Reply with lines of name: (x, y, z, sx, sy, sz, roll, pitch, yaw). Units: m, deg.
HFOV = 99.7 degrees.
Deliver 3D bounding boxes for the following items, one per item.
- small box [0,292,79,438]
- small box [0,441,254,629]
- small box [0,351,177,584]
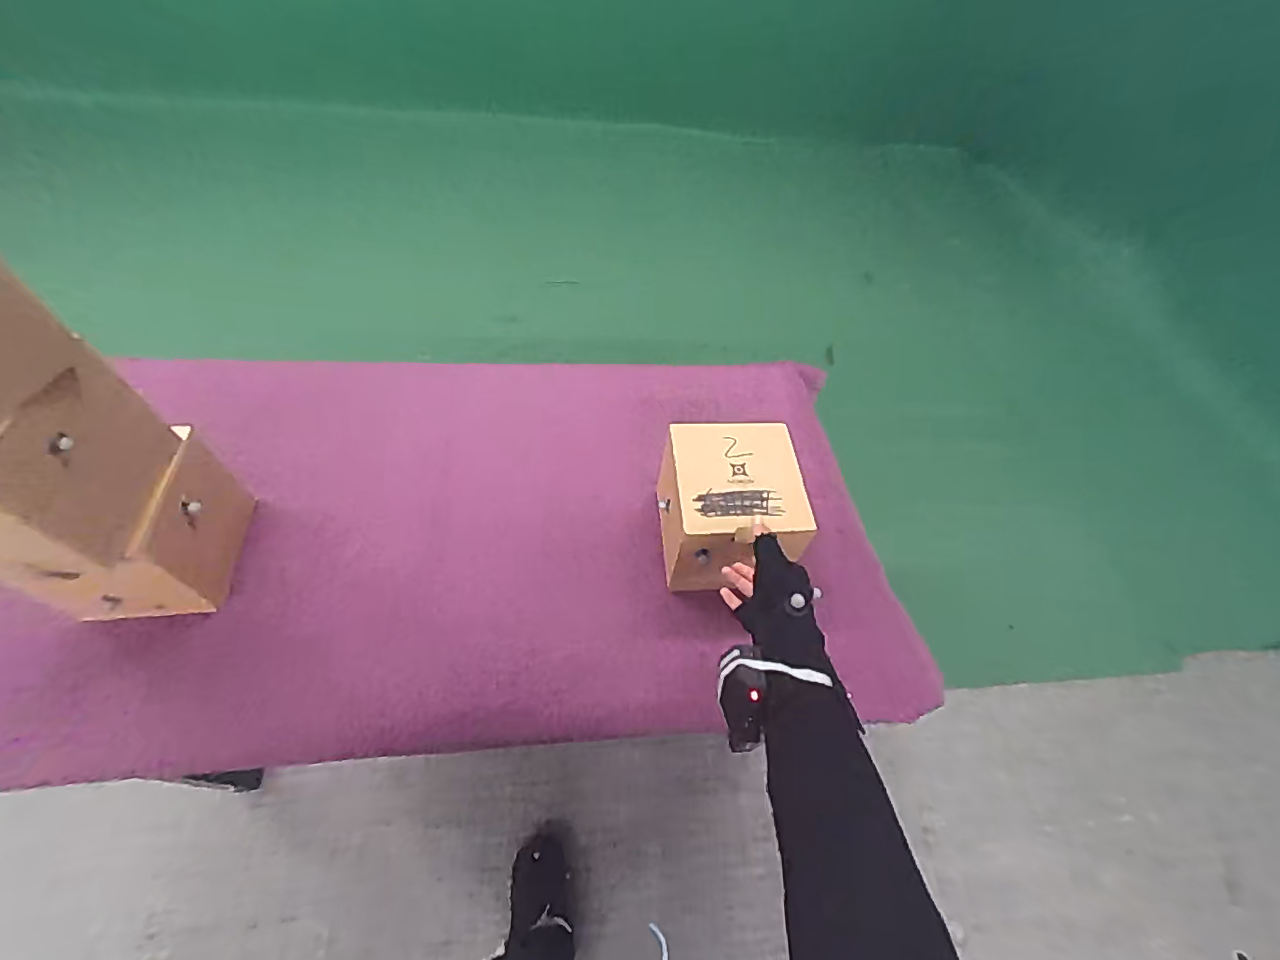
small box: (-0.600, -0.100, 0.395, 0.168, 0.176, 0.179, 16, 58, 3)
small box: (-0.623, 0.070, 0.675, 0.168, 0.176, 0.179, -3, 57, -8)
small box: (-0.616, -0.007, 0.529, 0.168, 0.176, 0.179, 1, 56, -6)
